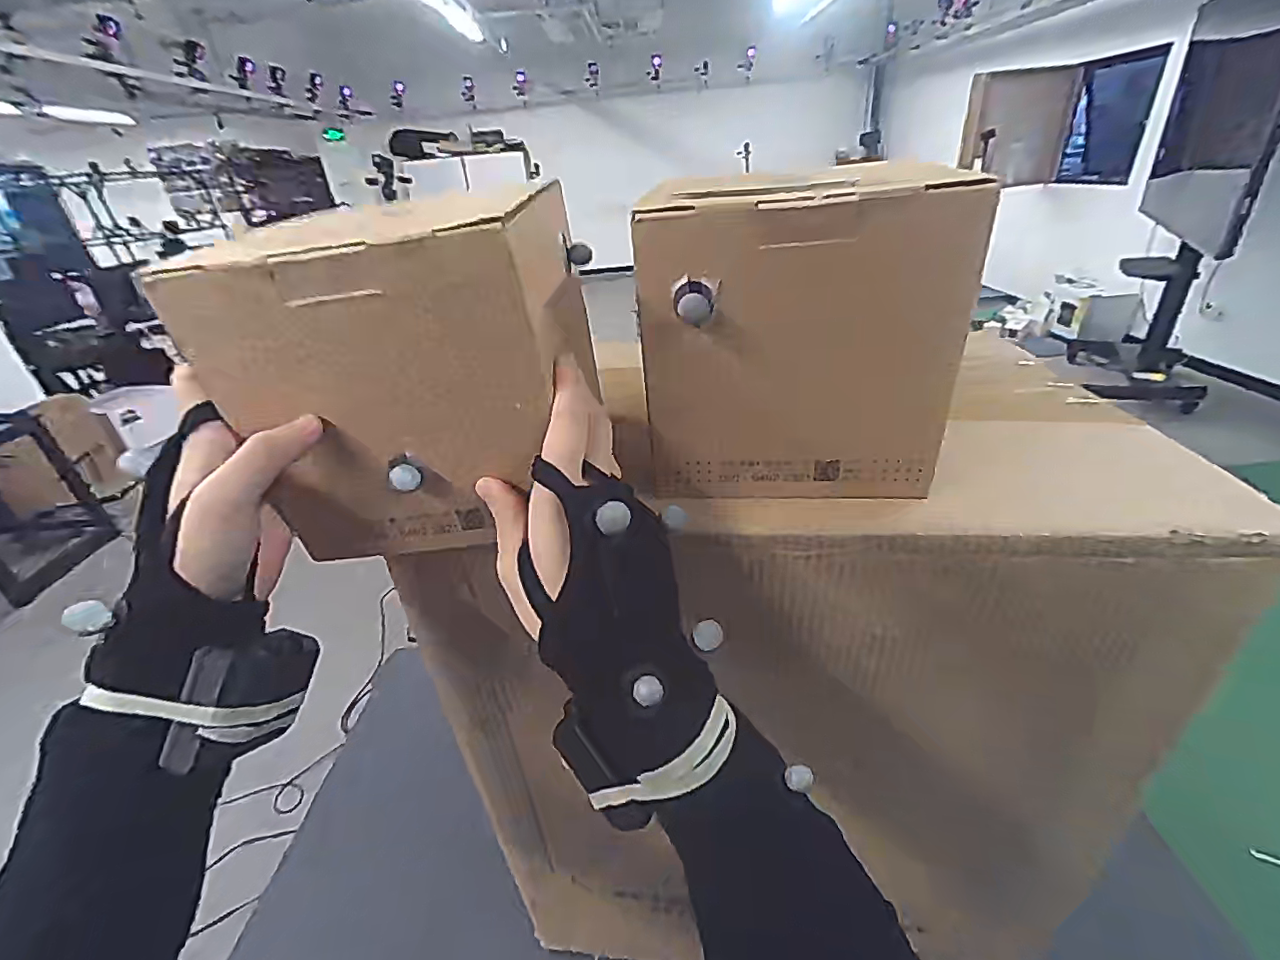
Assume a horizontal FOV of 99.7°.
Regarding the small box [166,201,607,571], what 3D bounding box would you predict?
[{"bbox_3d":[-0.118,-0.066,0.343,0.168,0.176,0.179,-7,33,5],"label":"small box"}]
